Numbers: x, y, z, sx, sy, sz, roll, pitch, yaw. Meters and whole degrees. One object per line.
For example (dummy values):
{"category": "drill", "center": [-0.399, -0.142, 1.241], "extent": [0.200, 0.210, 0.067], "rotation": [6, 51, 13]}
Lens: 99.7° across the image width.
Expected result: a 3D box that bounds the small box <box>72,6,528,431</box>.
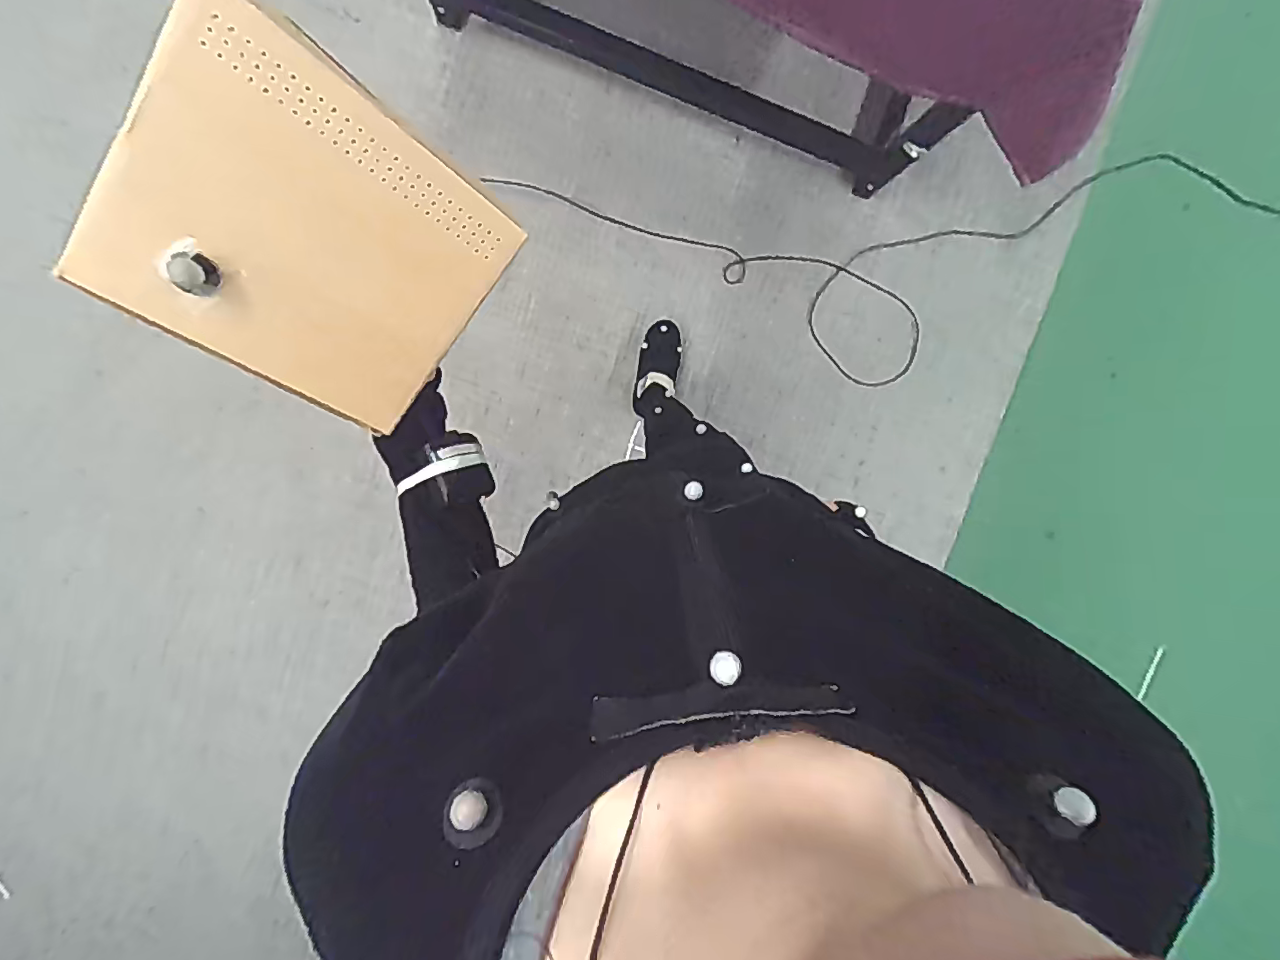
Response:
{"category": "small box", "center": [-0.205, -0.172, 0.366], "extent": [0.179, 0.168, 0.176], "rotation": [31, 108, -35]}
